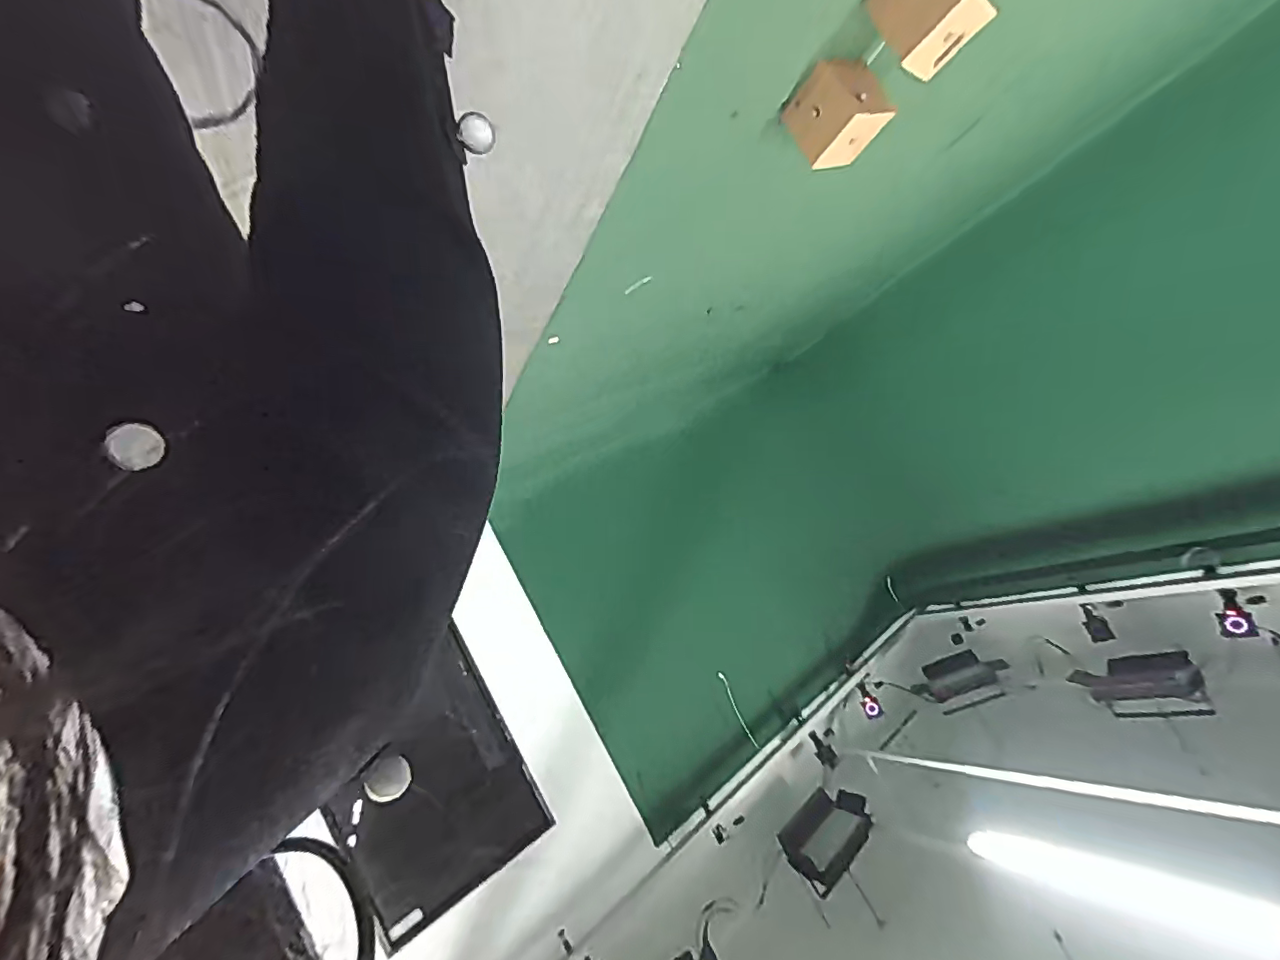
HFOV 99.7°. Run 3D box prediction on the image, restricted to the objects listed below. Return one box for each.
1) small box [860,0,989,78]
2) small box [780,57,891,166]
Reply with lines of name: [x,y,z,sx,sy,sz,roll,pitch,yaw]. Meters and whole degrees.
small box: [0.621,-1.038,1.184,0.179,0.176,0.168,-23,171,-43]
small box: [0.496,-0.947,1.392,0.179,0.176,0.168,-26,175,-30]
